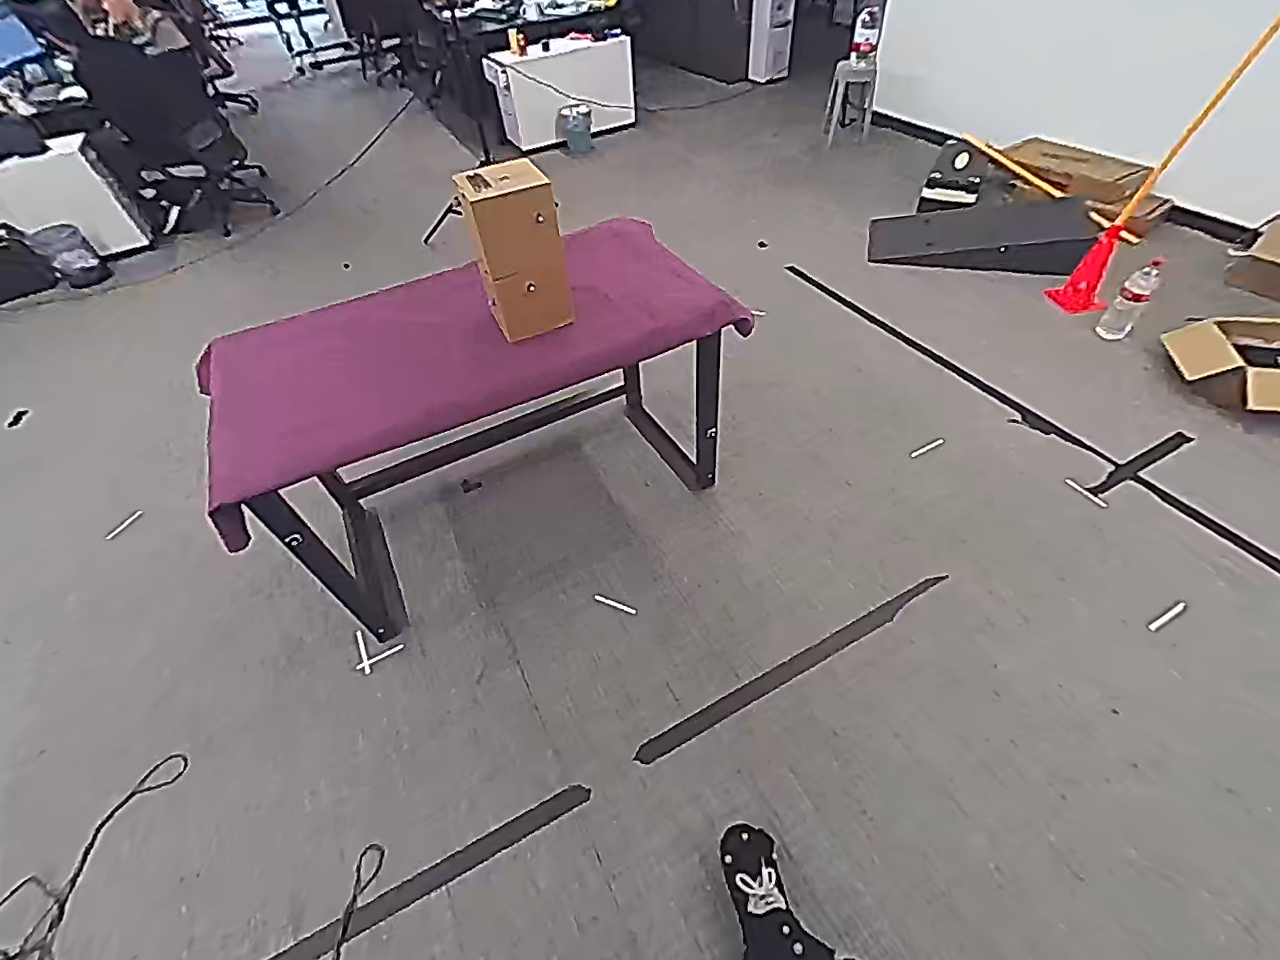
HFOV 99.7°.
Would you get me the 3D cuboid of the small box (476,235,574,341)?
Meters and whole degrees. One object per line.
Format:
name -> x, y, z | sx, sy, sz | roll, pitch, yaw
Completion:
small box -> -0.277, -0.467, 1.324 | 0.179, 0.176, 0.168 | -22, 51, -15
